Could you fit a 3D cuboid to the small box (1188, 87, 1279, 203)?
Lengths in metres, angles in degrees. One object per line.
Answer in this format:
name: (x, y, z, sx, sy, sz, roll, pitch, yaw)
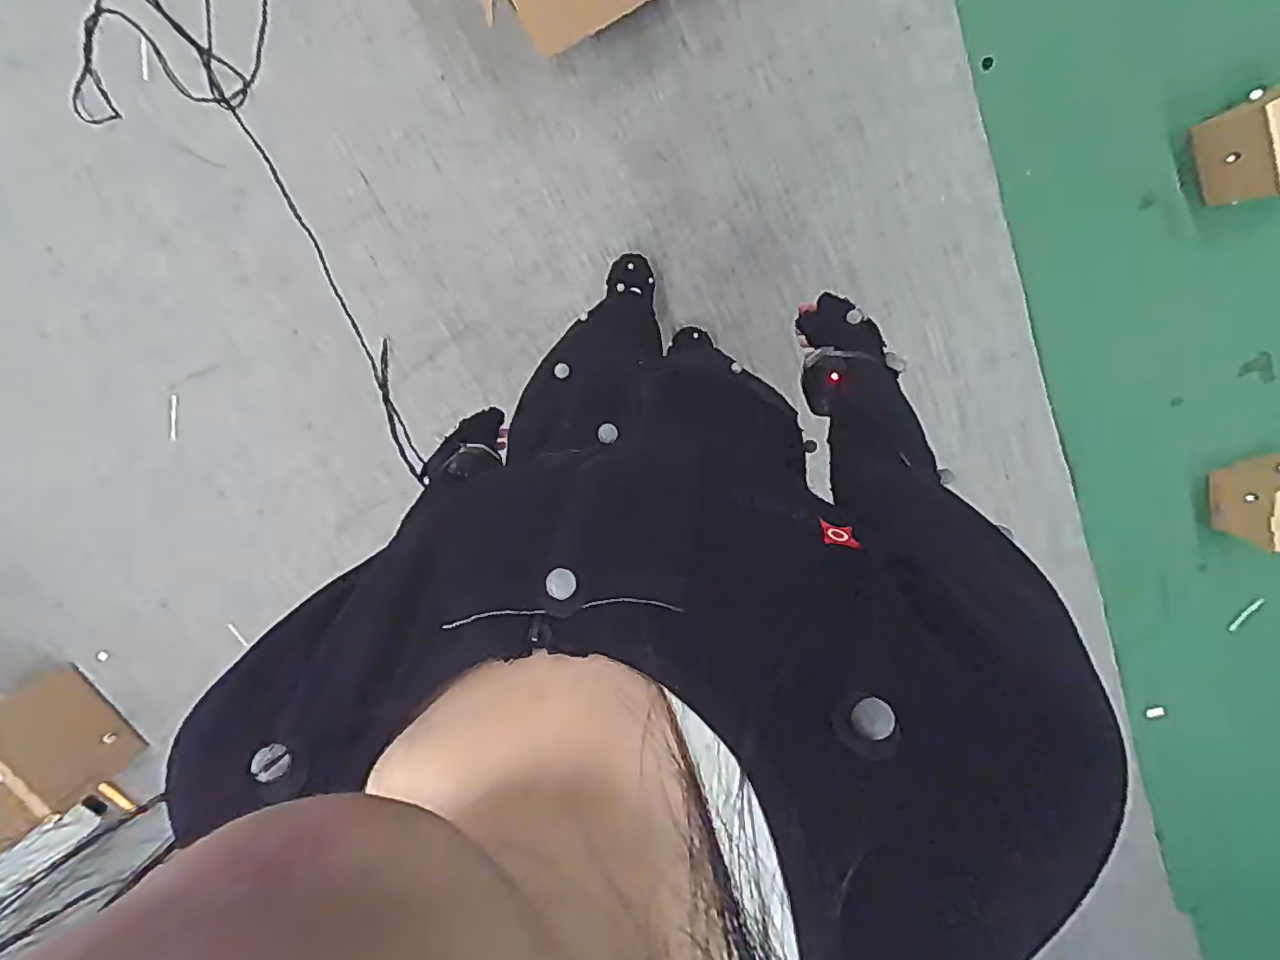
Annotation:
small box: (1.281, -0.686, 1.094, 0.168, 0.176, 0.179, -26, 104, 12)
